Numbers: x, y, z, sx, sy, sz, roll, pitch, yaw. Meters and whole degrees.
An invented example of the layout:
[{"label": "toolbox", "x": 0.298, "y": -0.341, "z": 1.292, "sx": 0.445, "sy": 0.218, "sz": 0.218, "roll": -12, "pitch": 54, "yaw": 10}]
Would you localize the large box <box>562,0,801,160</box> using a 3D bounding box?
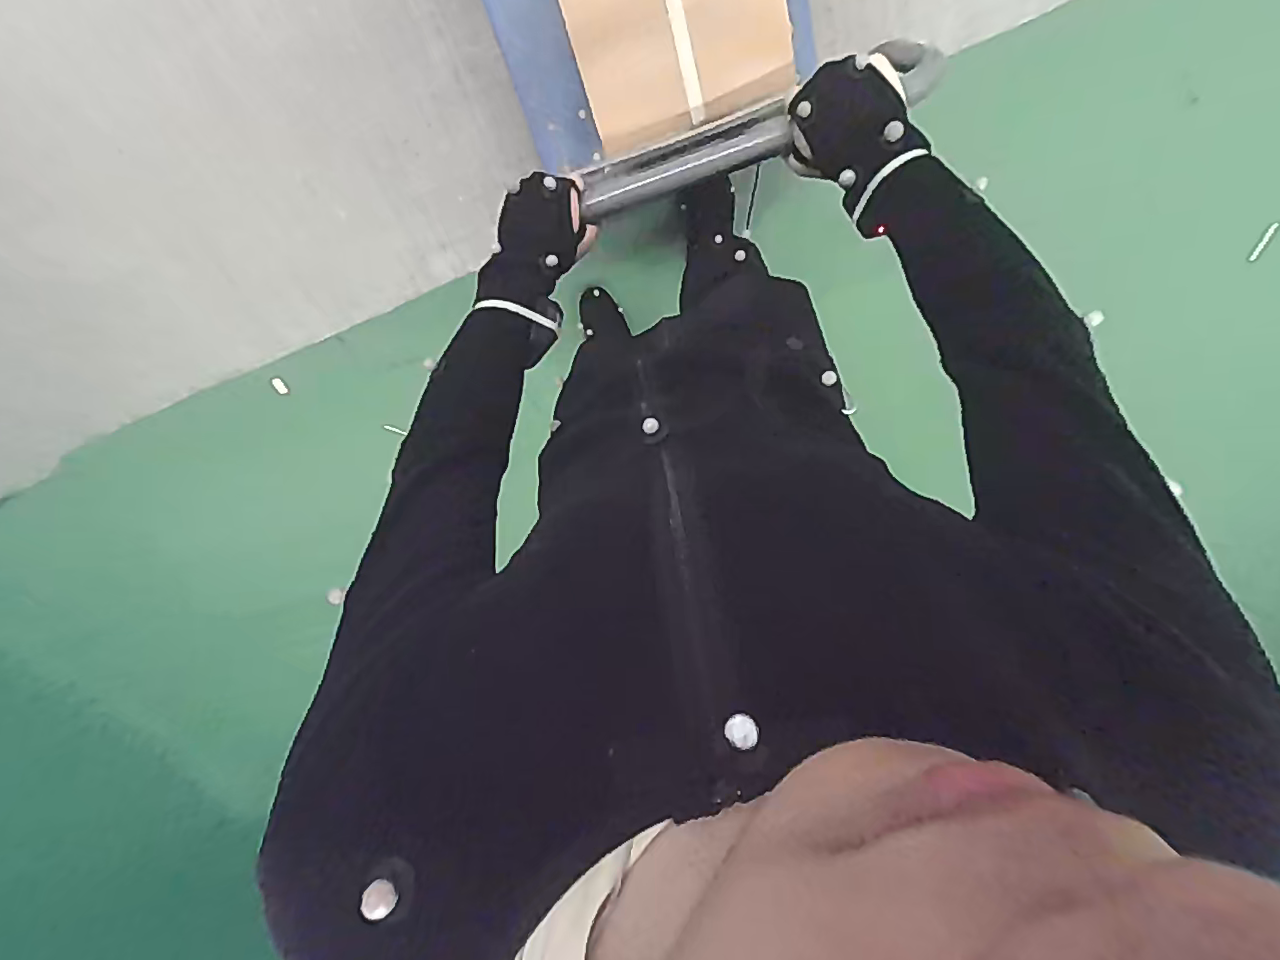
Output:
[{"label": "large box", "x": 0.045, "y": -0.795, "z": 0.876, "sx": 0.320, "sy": 0.320, "sz": 0.408, "roll": -14, "pitch": 120, "yaw": 11}]
